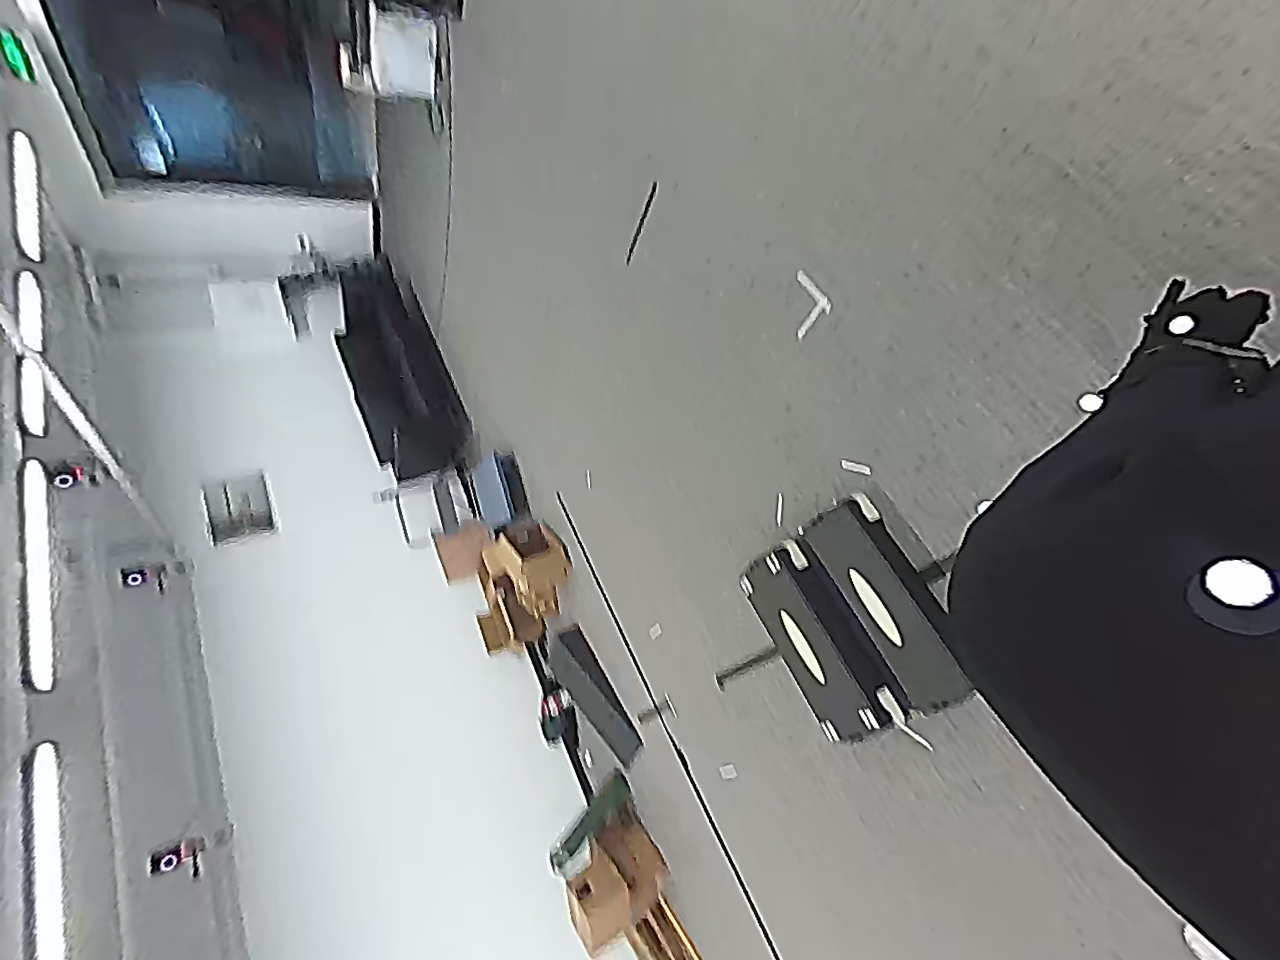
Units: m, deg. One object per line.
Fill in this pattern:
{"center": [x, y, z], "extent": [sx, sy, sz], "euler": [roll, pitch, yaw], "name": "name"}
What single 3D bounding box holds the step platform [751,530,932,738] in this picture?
{"center": [0.670, 0.528, 1.881], "extent": [0.684, 0.204, 0.286], "euler": [62, 146, 23], "name": "step platform"}
